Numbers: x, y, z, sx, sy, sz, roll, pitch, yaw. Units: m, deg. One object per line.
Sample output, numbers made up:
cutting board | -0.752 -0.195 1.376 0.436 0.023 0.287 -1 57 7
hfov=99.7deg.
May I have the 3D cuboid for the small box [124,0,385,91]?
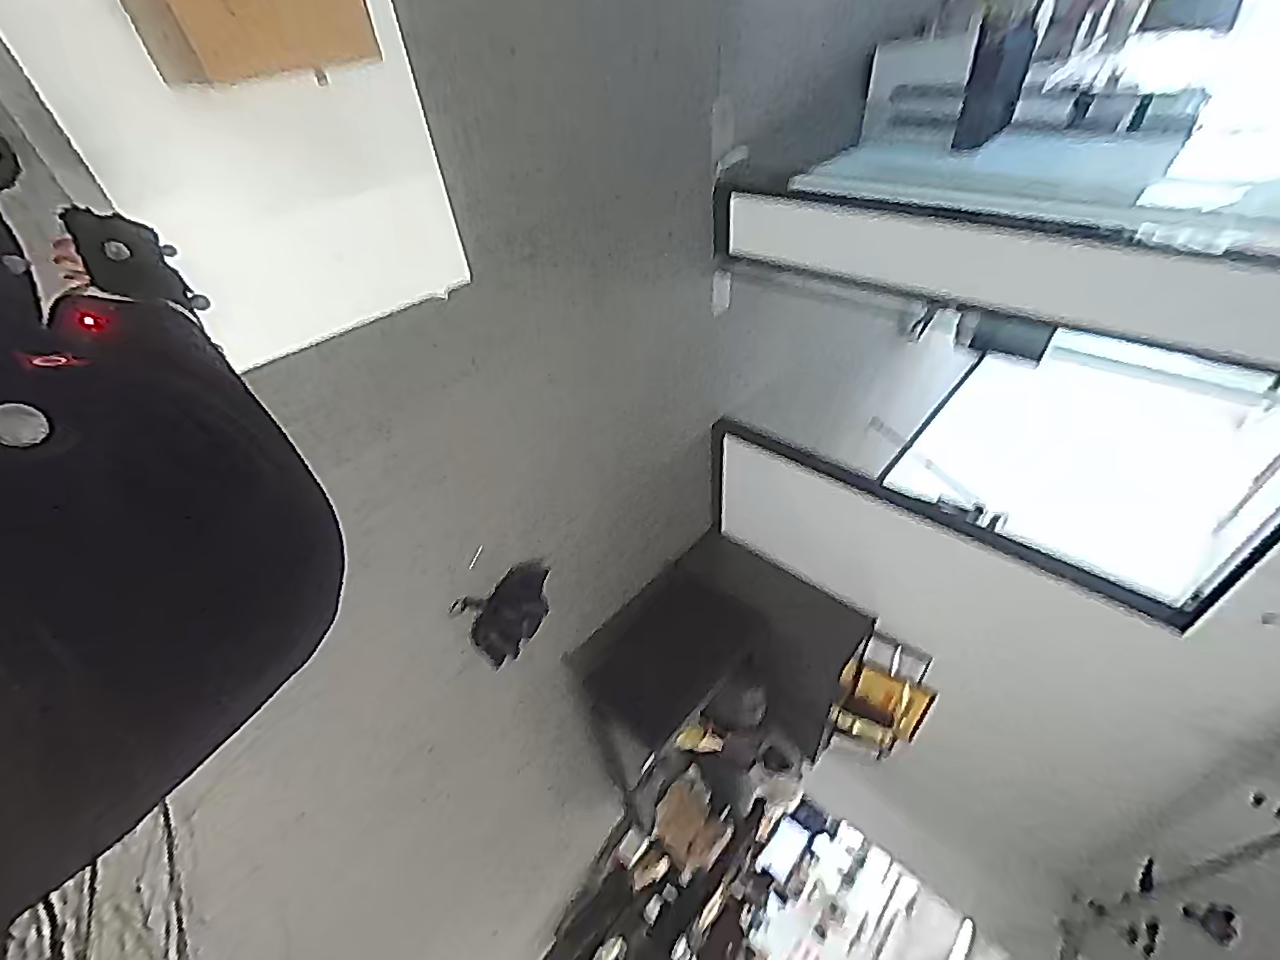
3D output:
small box | -0.396 -0.497 0.527 0.179 0.176 0.168 -38 140 -28
